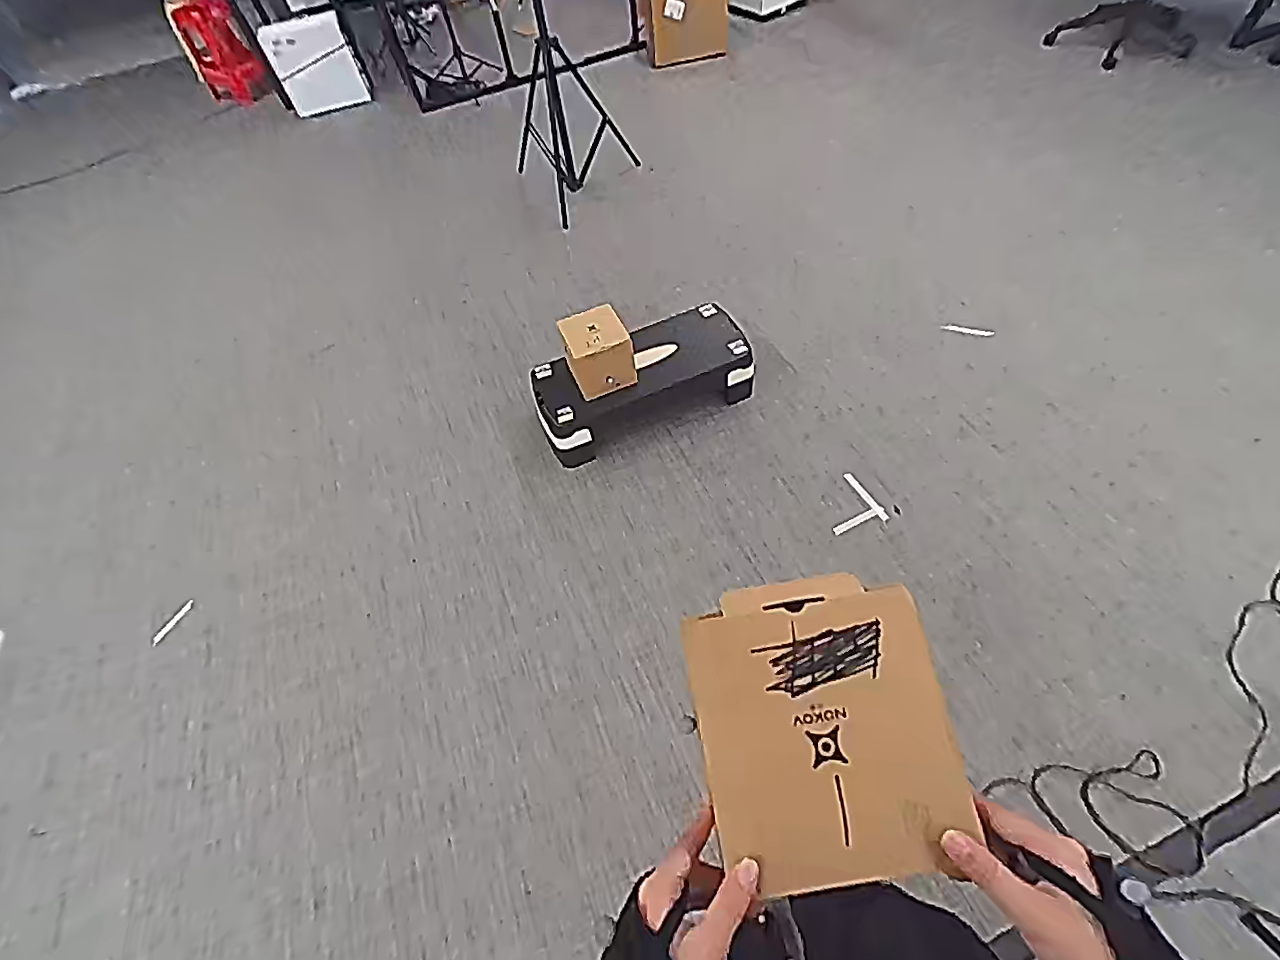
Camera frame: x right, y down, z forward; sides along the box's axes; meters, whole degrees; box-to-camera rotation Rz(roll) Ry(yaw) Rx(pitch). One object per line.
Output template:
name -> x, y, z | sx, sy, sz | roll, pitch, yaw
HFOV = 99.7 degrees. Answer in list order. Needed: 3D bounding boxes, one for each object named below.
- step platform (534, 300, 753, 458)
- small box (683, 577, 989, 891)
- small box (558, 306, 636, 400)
step platform -> 0.013, -0.333, 1.734 | 0.684, 0.204, 0.286 | -23, 56, -8
small box -> 0.129, 0.186, 0.436 | 0.168, 0.176, 0.179 | -9, 73, 1
small box -> -0.120, -0.364, 1.560 | 0.168, 0.176, 0.179 | -22, 57, -7
